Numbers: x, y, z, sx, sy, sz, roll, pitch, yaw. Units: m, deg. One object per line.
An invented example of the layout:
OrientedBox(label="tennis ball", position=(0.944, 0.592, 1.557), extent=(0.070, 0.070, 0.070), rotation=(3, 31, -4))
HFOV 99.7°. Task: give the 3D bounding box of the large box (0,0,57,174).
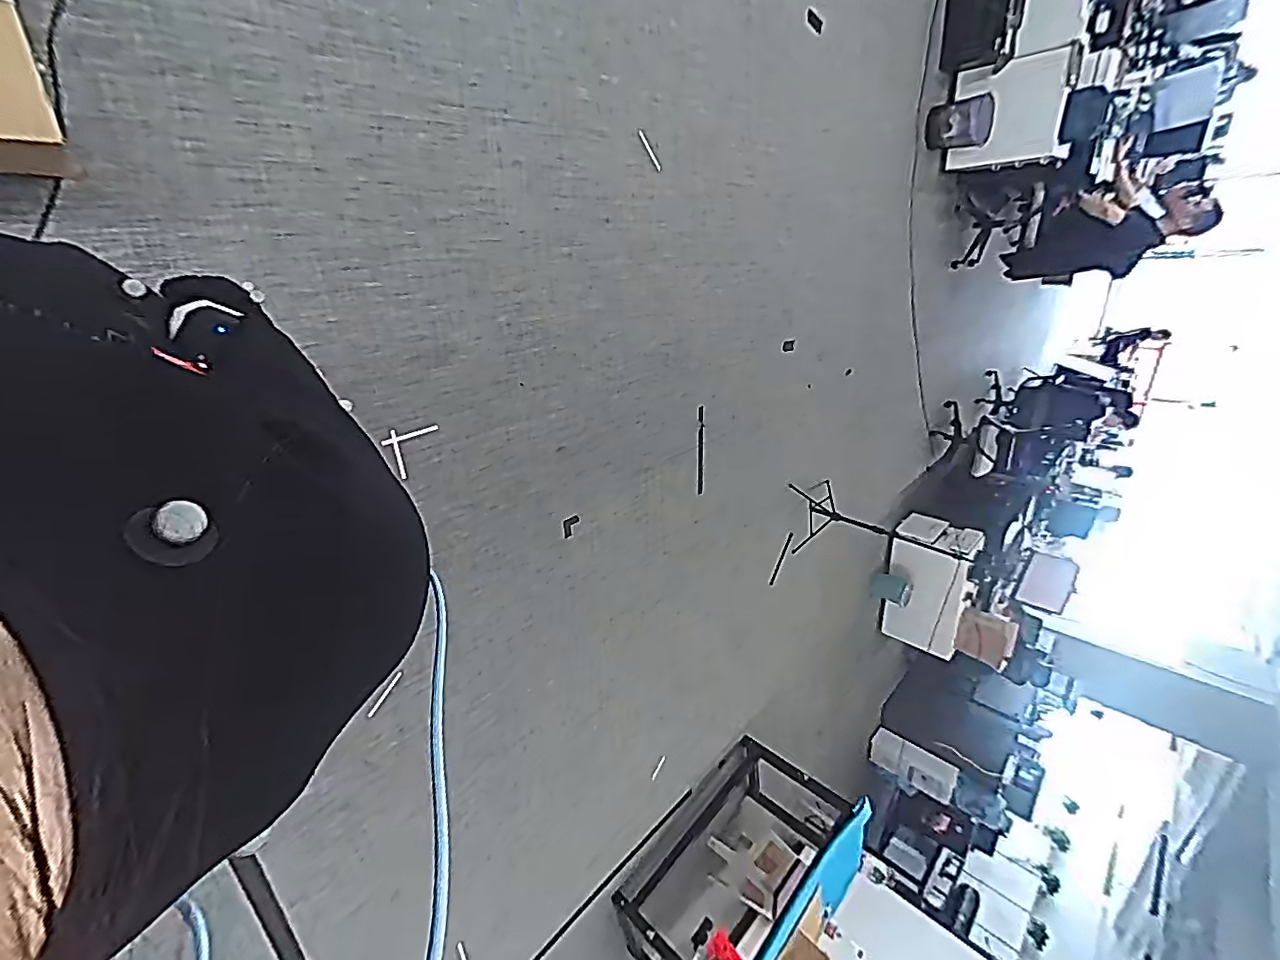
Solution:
OrientedBox(label="large box", position=(-1.008, -0.555, 0.615), extent=(0.408, 0.320, 0.320), rotation=(-23, 120, -41))
